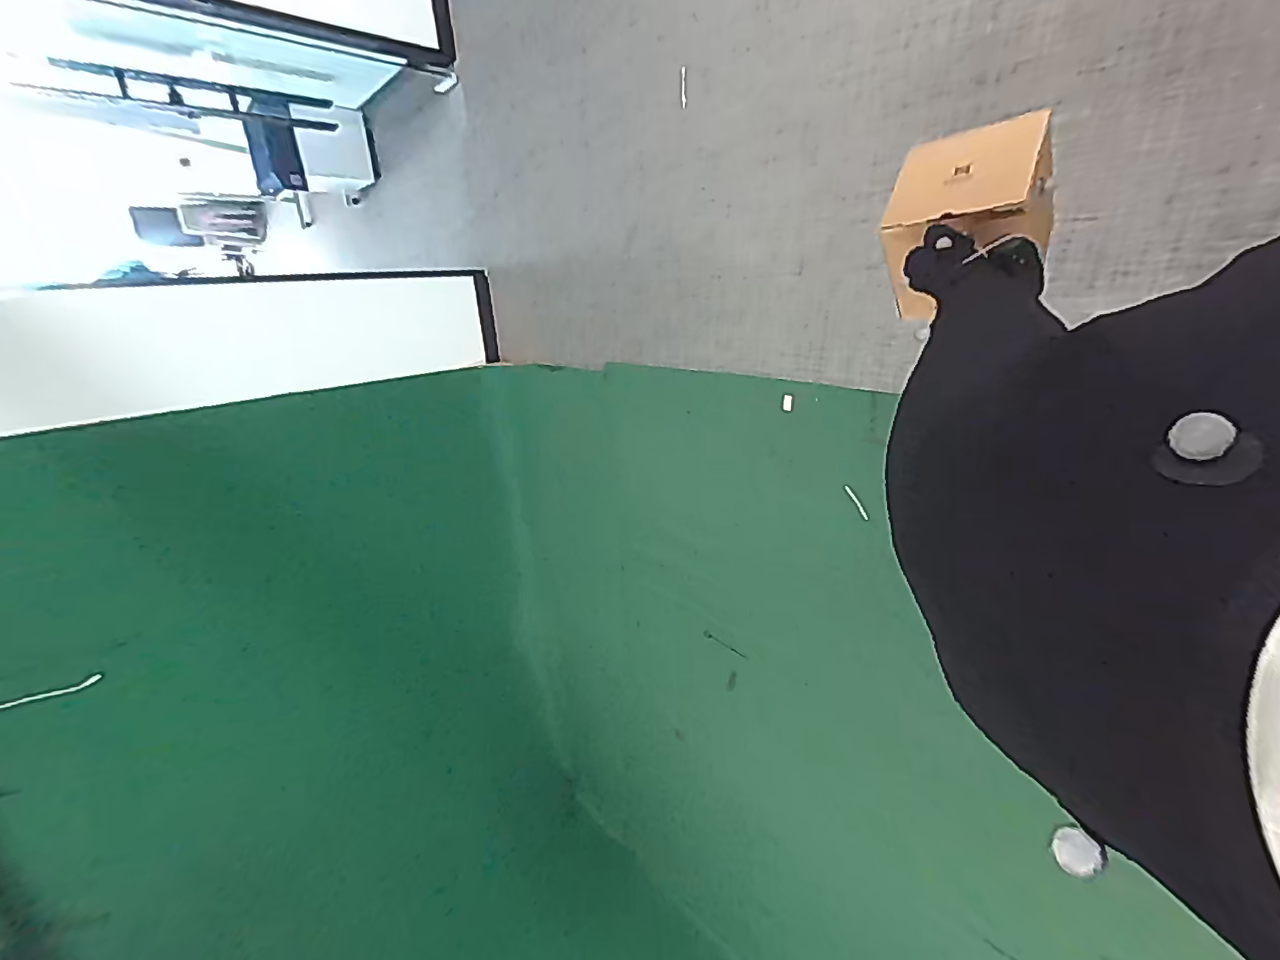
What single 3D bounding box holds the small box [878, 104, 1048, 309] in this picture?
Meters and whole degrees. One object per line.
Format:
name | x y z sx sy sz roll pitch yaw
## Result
small box | 0.456 -0.368 0.758 0.168 0.179 0.176 8 155 41
